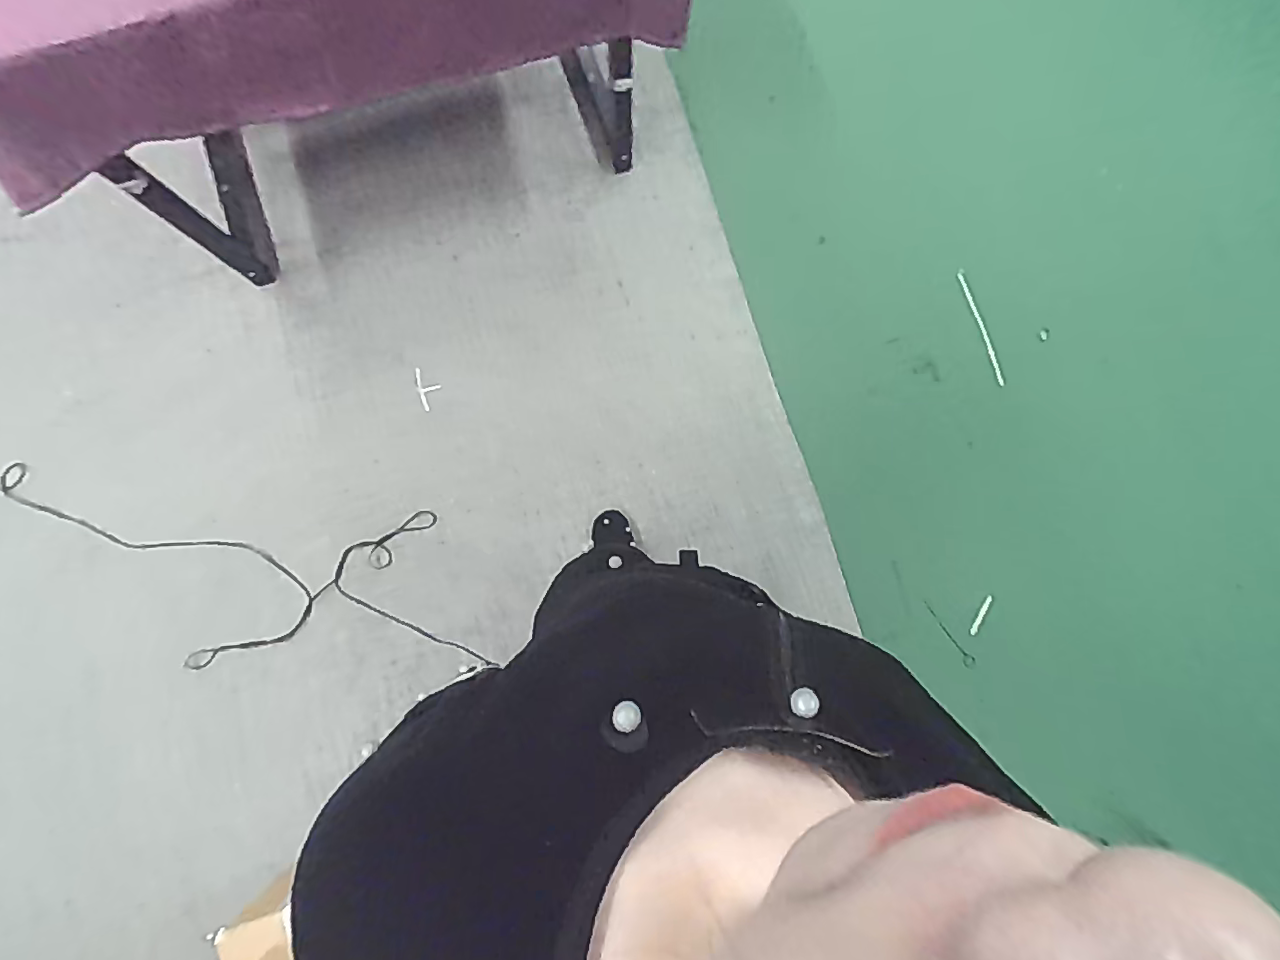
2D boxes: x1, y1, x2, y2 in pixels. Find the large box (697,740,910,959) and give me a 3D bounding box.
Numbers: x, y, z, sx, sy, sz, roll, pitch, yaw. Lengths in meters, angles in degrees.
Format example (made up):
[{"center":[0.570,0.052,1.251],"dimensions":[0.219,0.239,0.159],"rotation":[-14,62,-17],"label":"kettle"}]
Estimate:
[{"center":[0.363,0.915,1.285],"dimensions":[0.320,0.320,0.408],"rotation":[-17,85,-4],"label":"large box"}]
